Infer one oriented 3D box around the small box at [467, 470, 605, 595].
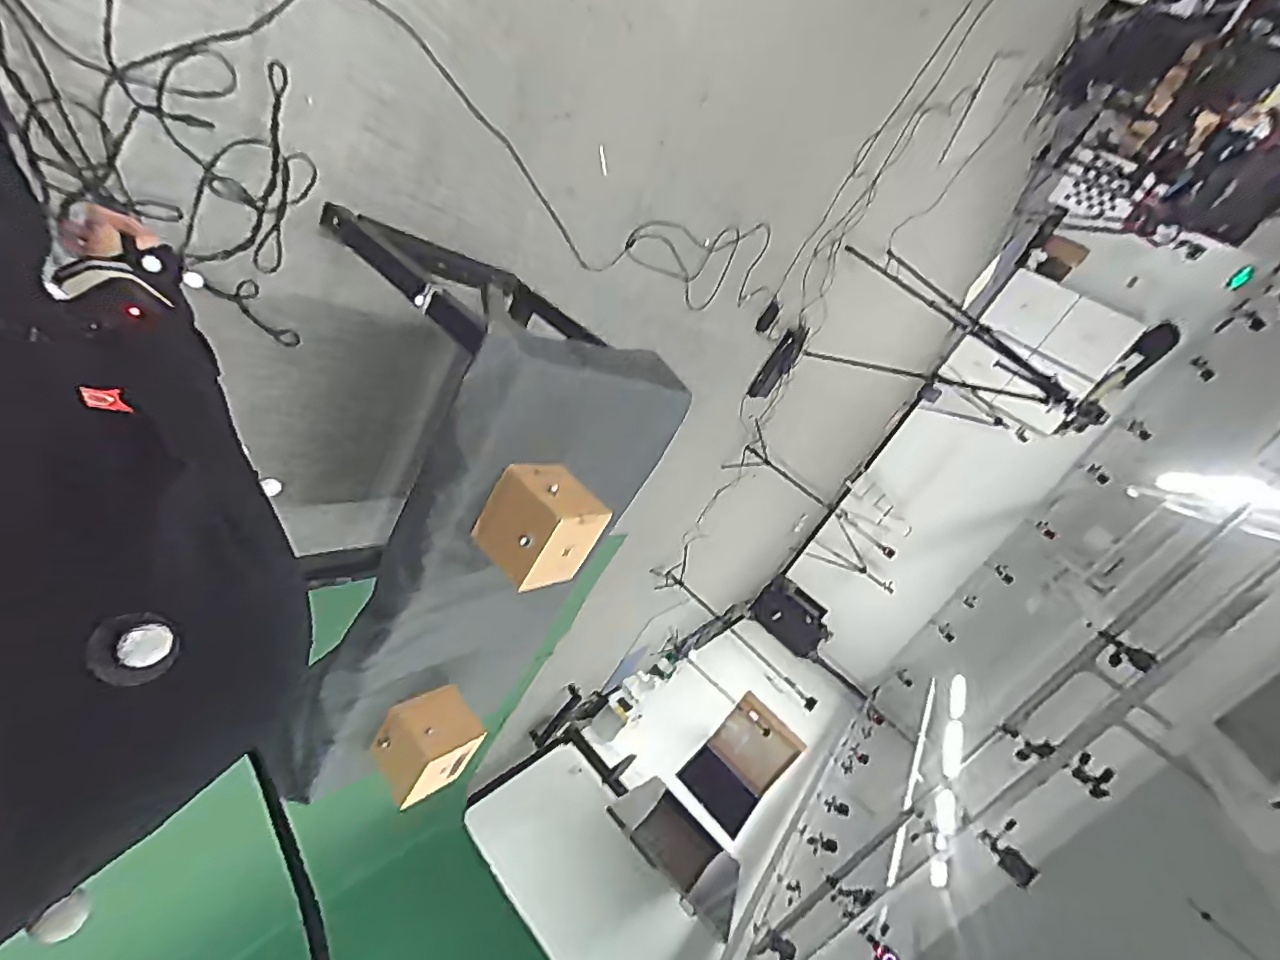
[{"bbox_3d":[-0.208,0.094,1.067,0.179,0.176,0.168,-56,155,18],"label":"small box"}]
